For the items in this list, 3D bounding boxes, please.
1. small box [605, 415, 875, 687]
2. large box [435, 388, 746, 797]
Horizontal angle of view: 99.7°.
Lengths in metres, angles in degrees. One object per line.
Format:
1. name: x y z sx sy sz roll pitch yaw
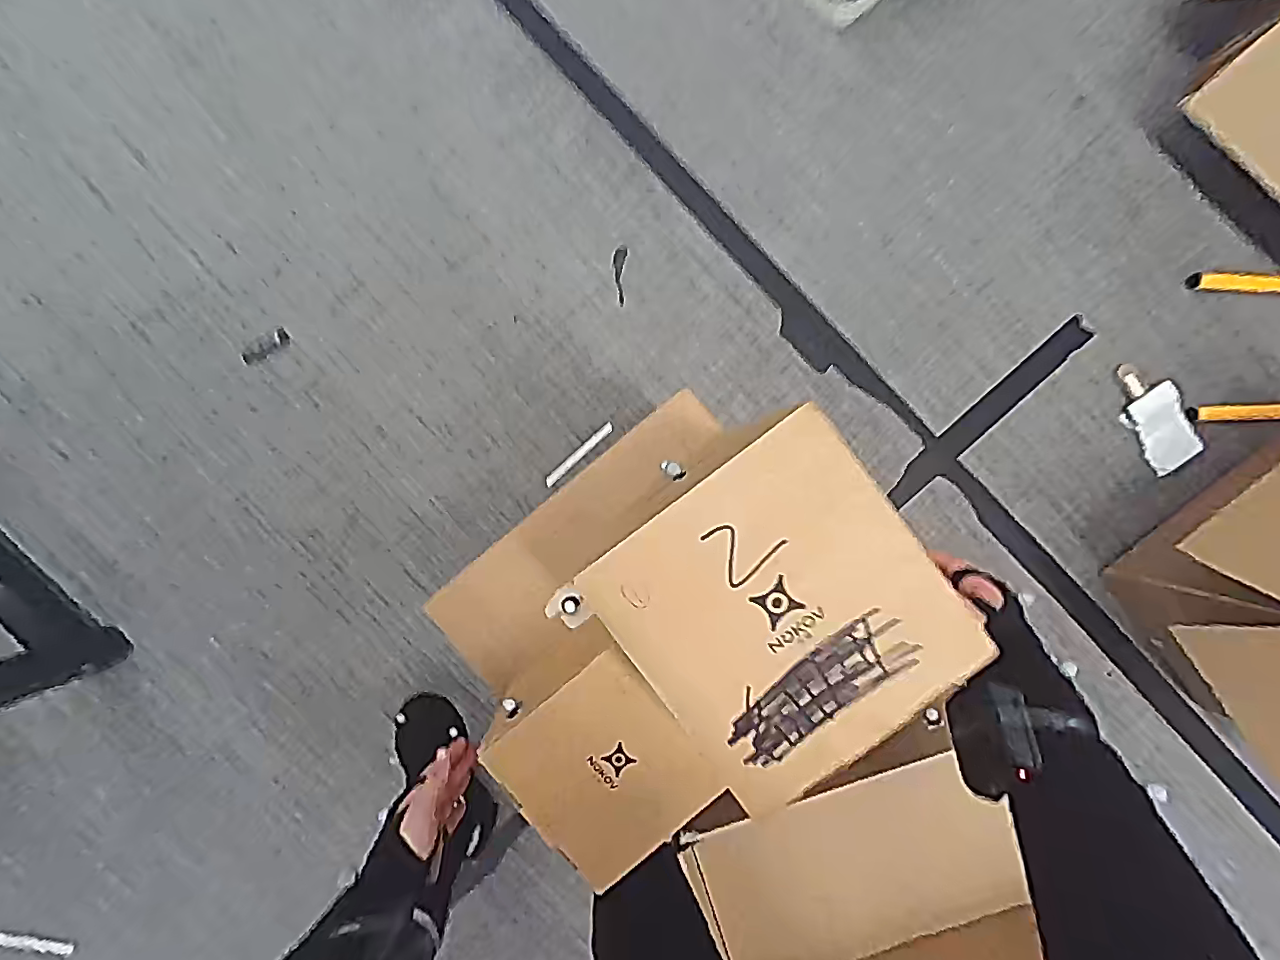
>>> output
1. small box: 0.084 0.059 0.534 0.168 0.176 0.179 -38 92 2
2. large box: 0.004 0.128 0.781 0.408 0.320 0.320 -41 90 1
